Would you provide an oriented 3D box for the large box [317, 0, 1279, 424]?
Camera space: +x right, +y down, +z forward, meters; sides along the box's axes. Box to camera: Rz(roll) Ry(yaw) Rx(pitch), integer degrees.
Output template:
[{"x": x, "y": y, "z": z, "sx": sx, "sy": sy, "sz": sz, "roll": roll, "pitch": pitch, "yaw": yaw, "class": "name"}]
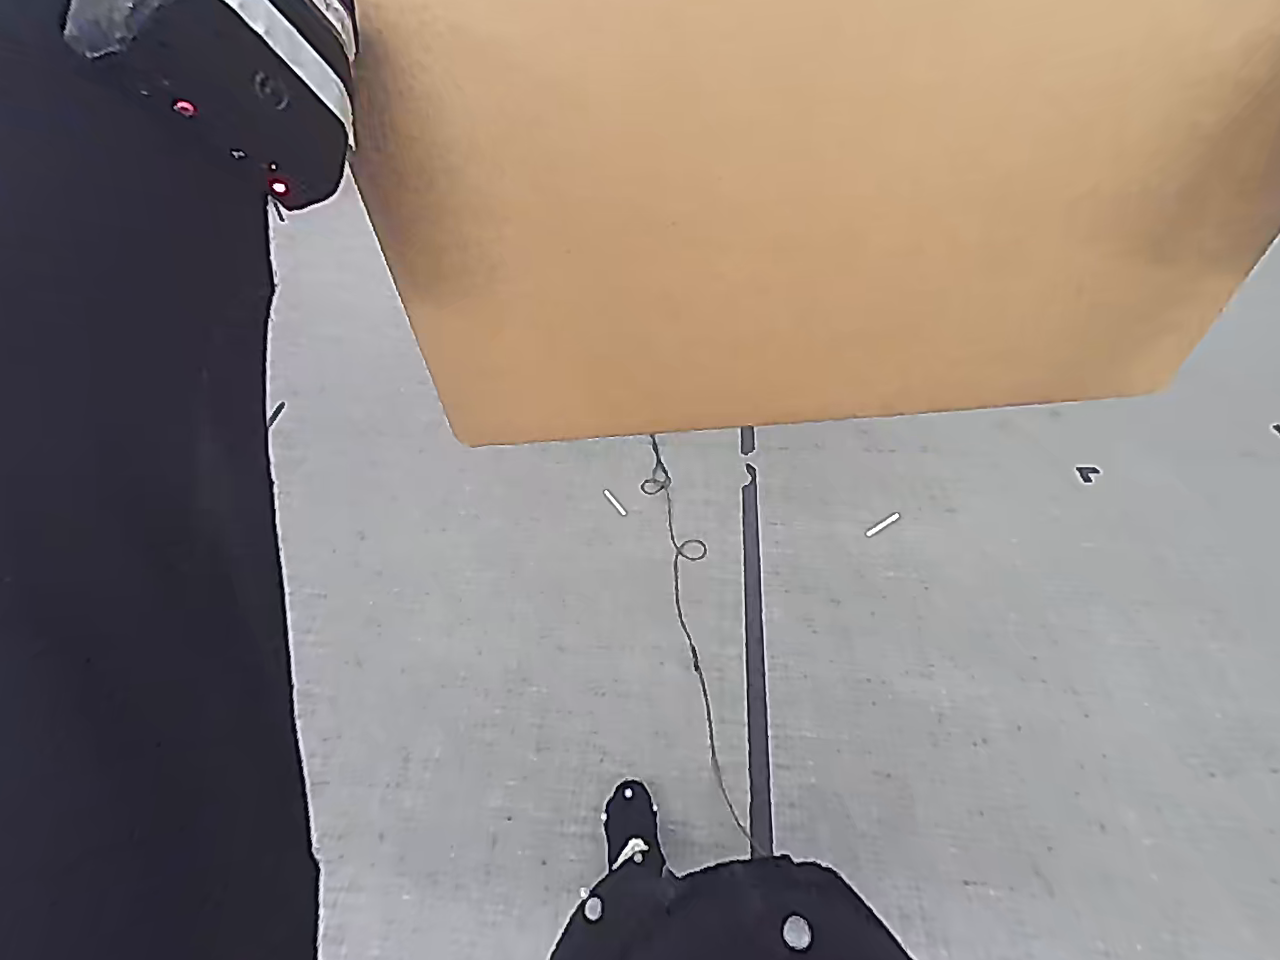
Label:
[{"x": 0.074, "y": -0.255, "z": 0.322, "sx": 0.408, "sy": 0.320, "sz": 0.320, "roll": -4, "pitch": 44, "yaw": -1, "class": "large box"}]
